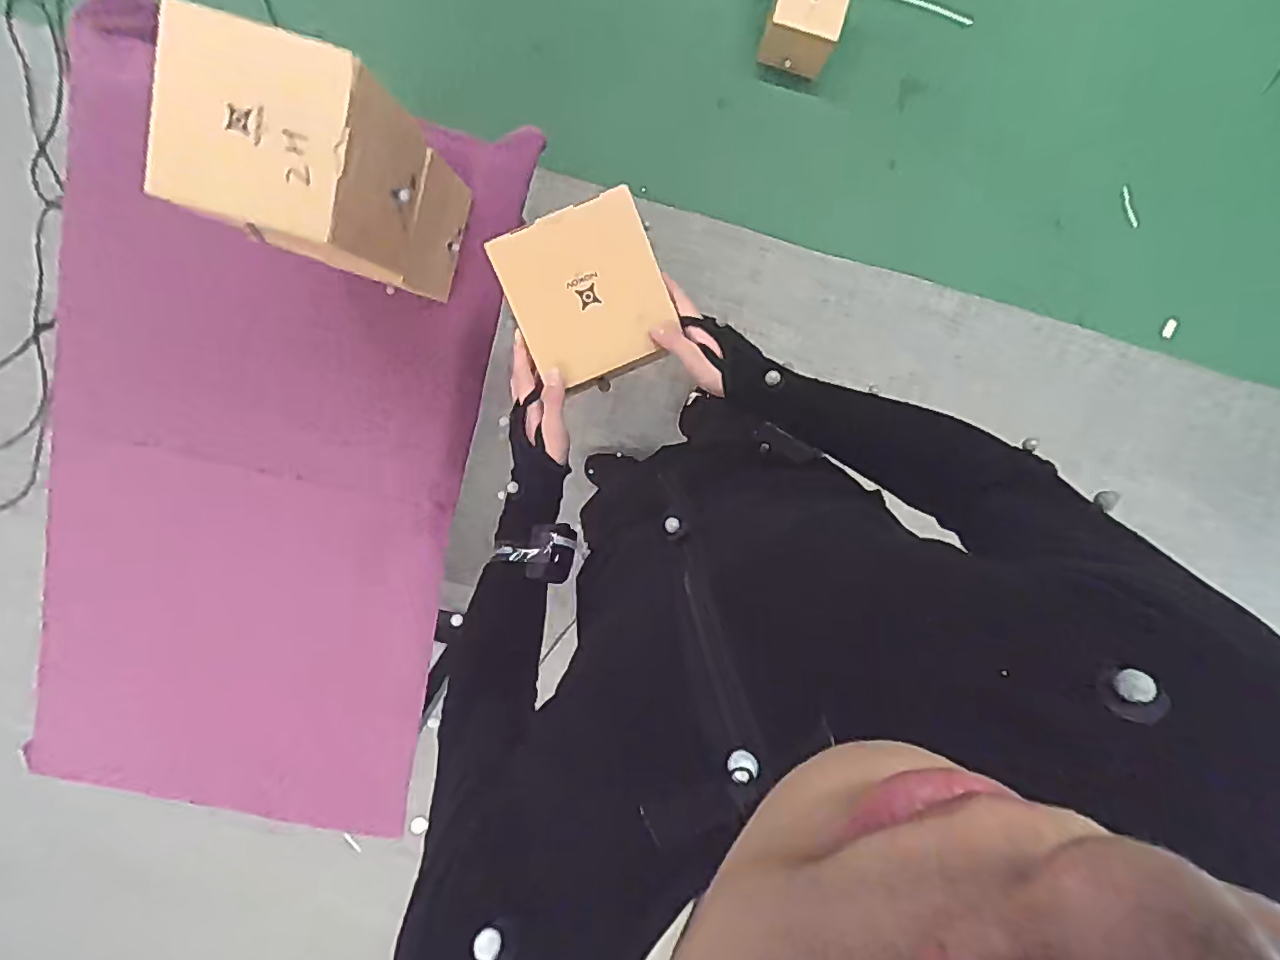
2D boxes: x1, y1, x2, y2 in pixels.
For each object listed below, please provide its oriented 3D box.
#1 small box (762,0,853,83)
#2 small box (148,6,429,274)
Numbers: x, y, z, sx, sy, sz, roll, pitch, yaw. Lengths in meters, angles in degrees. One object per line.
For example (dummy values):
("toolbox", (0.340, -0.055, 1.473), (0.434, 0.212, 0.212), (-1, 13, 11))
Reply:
("small box", (0.418, -1.148, 1.350), (0.168, 0.176, 0.179), (14, 100, -3))
("small box", (-0.353, -0.333, 0.572), (0.179, 0.176, 0.168), (16, 101, -3))
